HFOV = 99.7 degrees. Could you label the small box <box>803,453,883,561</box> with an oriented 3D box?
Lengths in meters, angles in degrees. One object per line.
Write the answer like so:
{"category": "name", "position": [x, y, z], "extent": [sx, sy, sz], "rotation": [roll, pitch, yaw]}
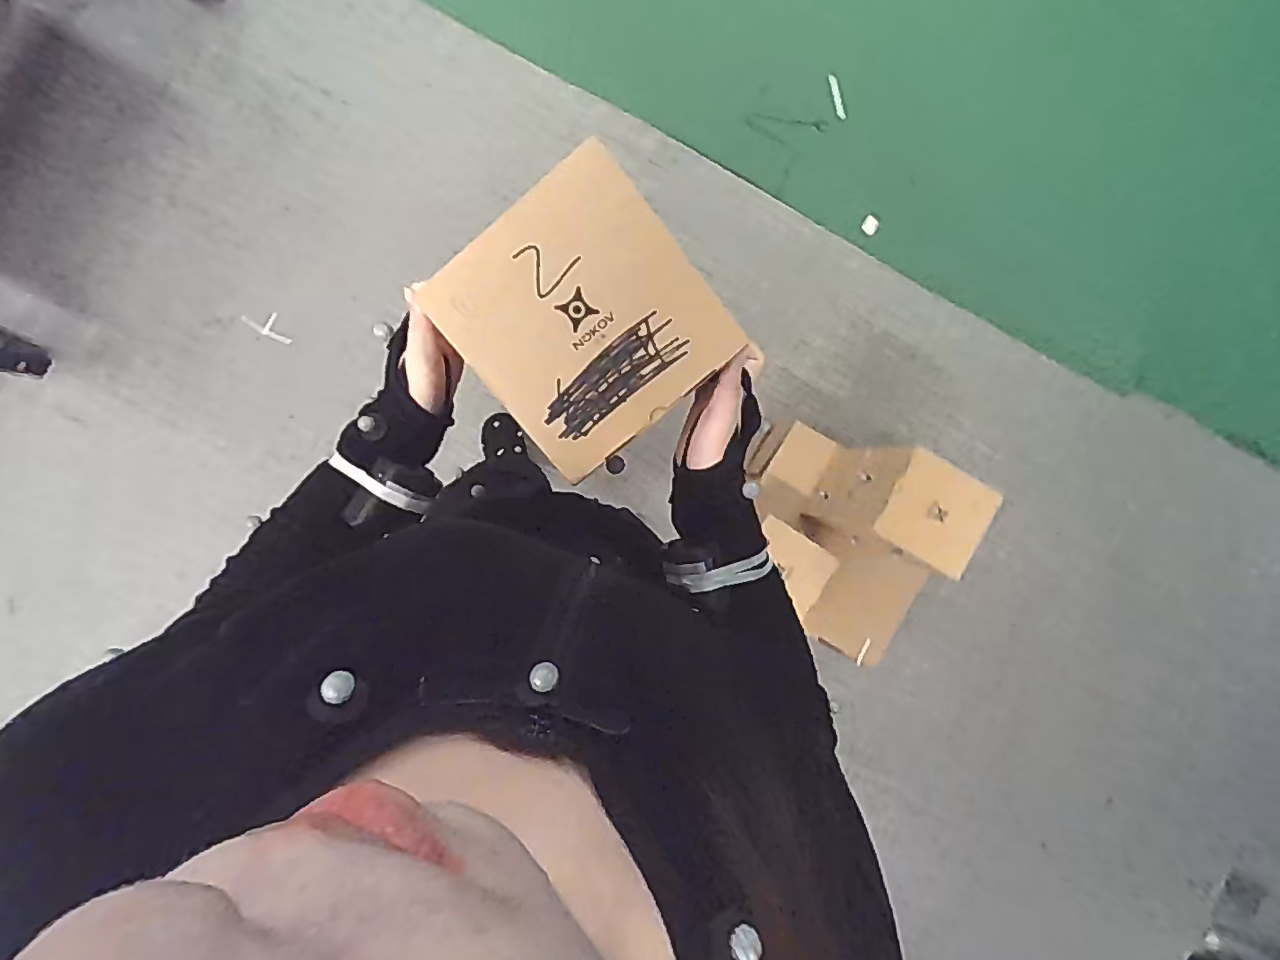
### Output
{"category": "small box", "position": [0.477, 0.060, 1.141], "extent": [0.179, 0.176, 0.168], "rotation": [32, 88, -5]}

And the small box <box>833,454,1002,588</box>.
{"category": "small box", "position": [0.489, 0.067, 0.978], "extent": [0.179, 0.176, 0.168], "rotation": [32, 88, -2]}

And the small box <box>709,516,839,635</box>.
{"category": "small box", "position": [0.269, 0.187, 1.125], "extent": [0.179, 0.176, 0.168], "rotation": [34, 88, -4]}
